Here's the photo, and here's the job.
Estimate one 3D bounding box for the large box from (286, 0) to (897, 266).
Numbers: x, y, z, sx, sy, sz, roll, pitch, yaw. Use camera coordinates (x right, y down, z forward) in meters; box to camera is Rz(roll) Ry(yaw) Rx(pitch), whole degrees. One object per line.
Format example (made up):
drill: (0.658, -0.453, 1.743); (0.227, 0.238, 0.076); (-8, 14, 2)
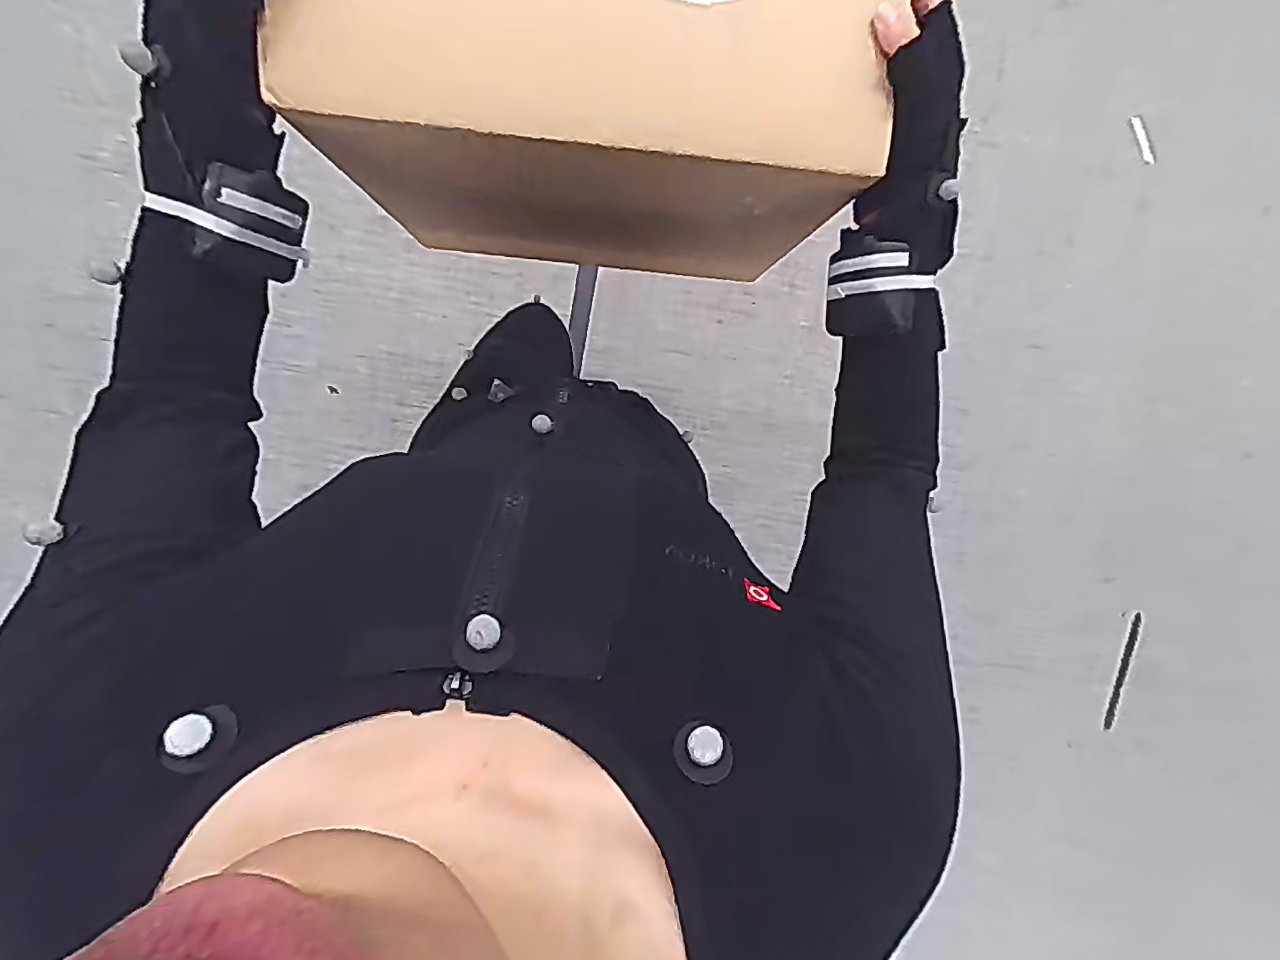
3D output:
large box: (-0.033, -0.403, 0.490); (0.408, 0.320, 0.320); (3, 98, -6)
